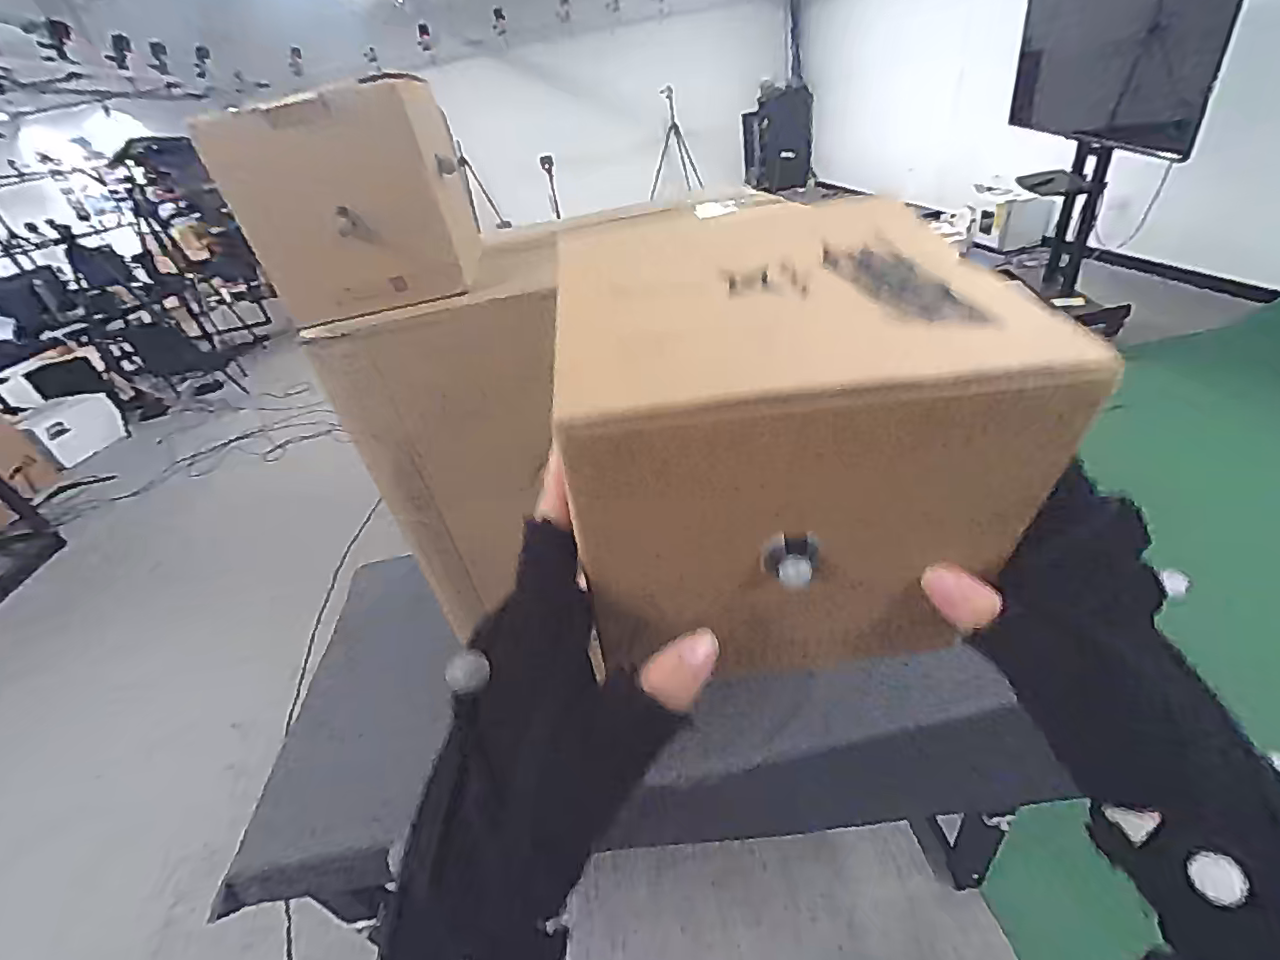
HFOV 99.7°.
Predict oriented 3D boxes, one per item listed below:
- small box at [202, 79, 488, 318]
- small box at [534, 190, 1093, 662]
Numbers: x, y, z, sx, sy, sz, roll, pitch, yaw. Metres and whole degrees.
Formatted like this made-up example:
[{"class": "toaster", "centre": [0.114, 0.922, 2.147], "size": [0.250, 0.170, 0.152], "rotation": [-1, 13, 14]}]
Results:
[{"class": "small box", "centre": [-0.258, -0.272, 0.530], "size": [0.168, 0.176, 0.179], "rotation": [-12, 37, -1]}, {"class": "small box", "centre": [0.054, -0.026, 0.276], "size": [0.179, 0.176, 0.168], "rotation": [-6, 43, 0]}]
